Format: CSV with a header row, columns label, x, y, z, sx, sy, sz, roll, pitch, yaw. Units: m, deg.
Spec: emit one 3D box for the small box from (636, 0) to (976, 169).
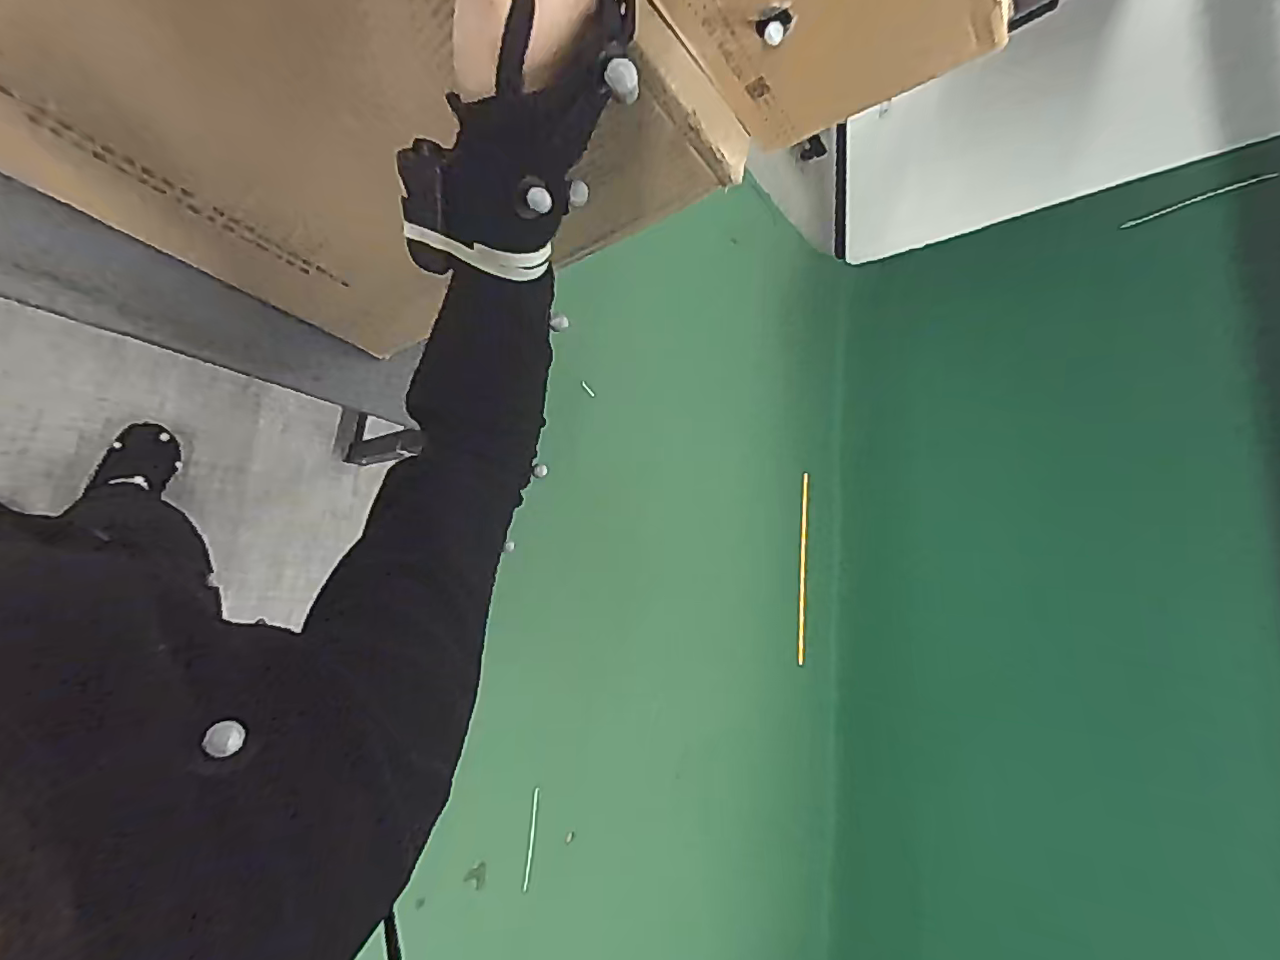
label,x,y,z,sx,sy,sz,roll,pitch,yaw
small box,0.111,-0.349,0.350,0.168,0.176,0.179,15,79,-52
